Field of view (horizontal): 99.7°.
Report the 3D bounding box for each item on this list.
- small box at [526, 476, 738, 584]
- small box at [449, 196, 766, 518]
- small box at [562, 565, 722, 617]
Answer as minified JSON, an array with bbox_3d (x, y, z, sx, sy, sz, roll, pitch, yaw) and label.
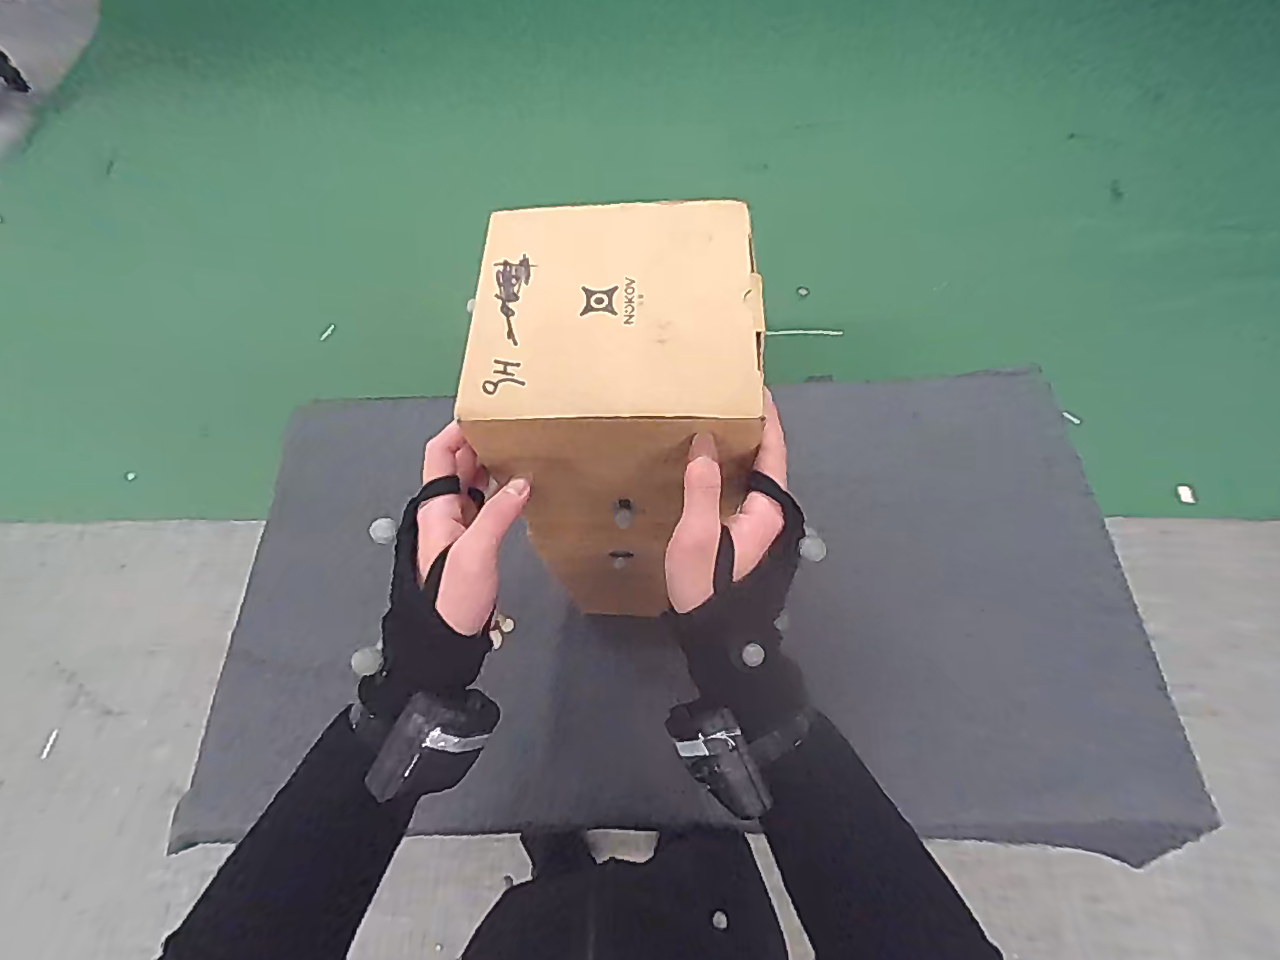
[{"bbox_3d":[-0.001,0.004,0.541,0.179,0.176,0.168,1,66,2],"label":"small box"},{"bbox_3d":[-0.014,-0.077,0.398,0.179,0.176,0.168,1,65,2],"label":"small box"},{"bbox_3d":[0.009,0.075,0.689,0.179,0.176,0.168,1,65,5],"label":"small box"}]
